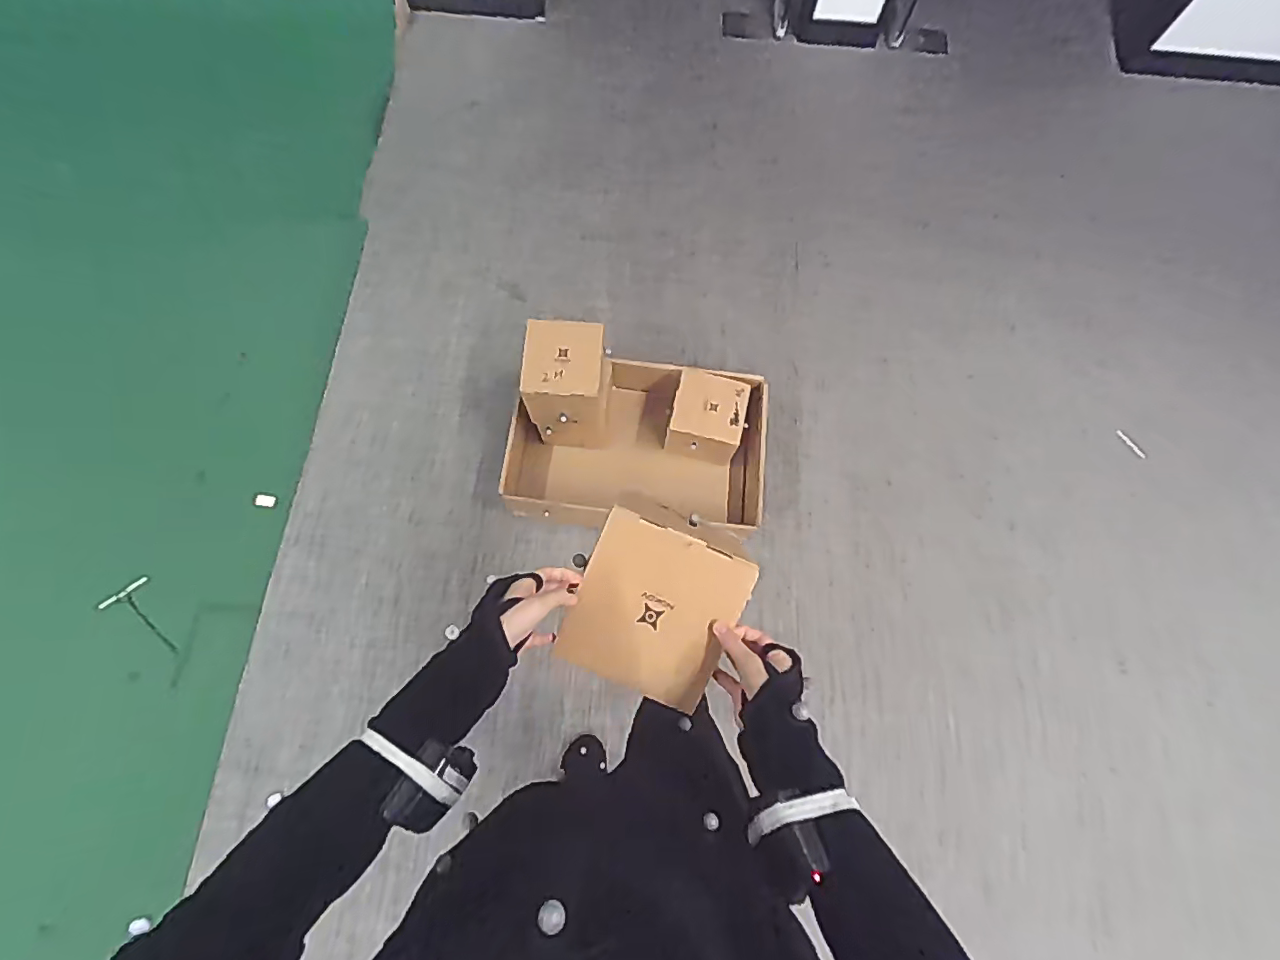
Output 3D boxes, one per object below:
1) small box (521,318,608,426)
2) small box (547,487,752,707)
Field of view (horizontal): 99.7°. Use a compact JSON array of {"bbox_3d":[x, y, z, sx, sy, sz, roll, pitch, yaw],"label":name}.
[{"bbox_3d":[-0.161,-0.239,1.215,0.168,0.176,0.179,4,74,1],"label":"small box"},{"bbox_3d":[0.014,0.123,0.640,0.168,0.176,0.179,24,95,1],"label":"small box"}]
